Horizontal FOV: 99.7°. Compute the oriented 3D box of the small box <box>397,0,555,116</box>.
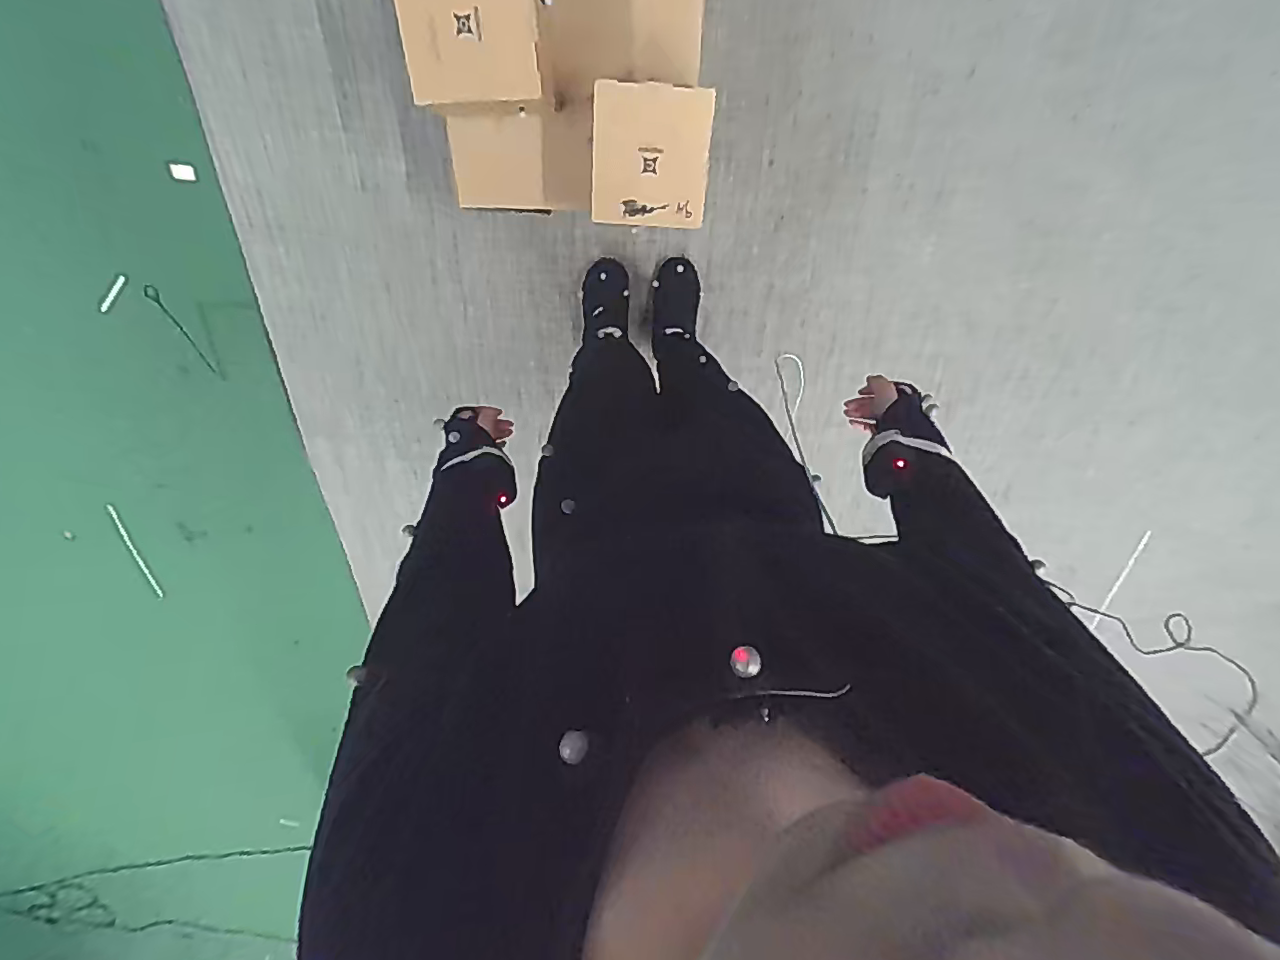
[{"bbox_3d":[-0.217,-0.617,0.755,0.179,0.176,0.168,-1,118,2],"label":"small box"}]

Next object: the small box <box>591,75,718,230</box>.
[{"bbox_3d":[0.014,-0.489,0.825,0.168,0.176,0.179,4,119,-3],"label":"small box"}]
